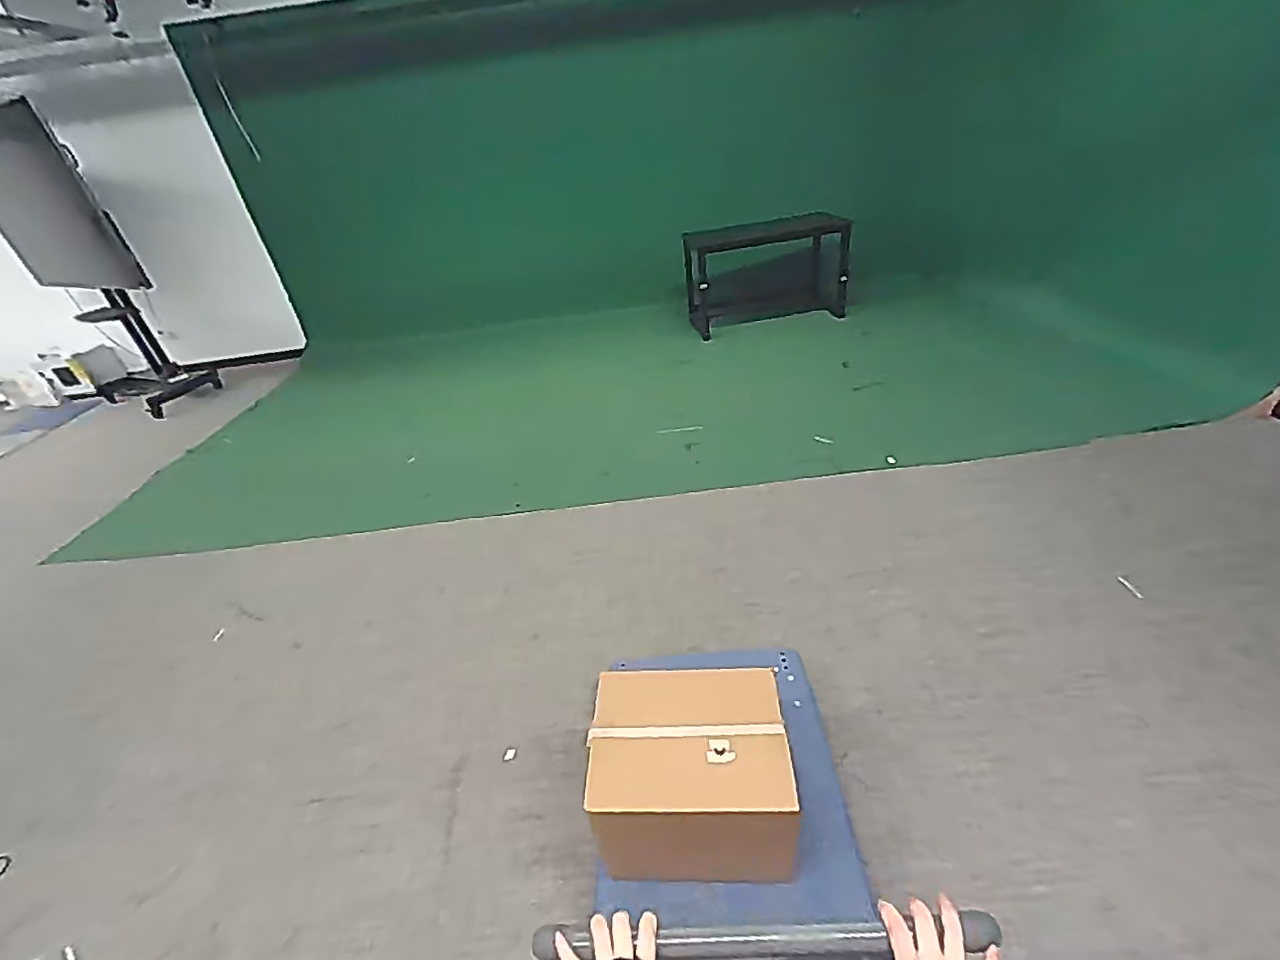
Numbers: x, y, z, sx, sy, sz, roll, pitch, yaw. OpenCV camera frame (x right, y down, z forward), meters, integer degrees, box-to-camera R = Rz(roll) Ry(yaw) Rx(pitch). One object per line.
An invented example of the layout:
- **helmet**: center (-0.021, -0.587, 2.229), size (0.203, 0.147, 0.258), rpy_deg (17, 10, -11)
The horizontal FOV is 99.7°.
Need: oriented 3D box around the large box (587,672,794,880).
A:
- **large box**: center (0.109, 0.666, 1.228), size (0.408, 0.320, 0.320), rpy_deg (-3, 33, 5)
